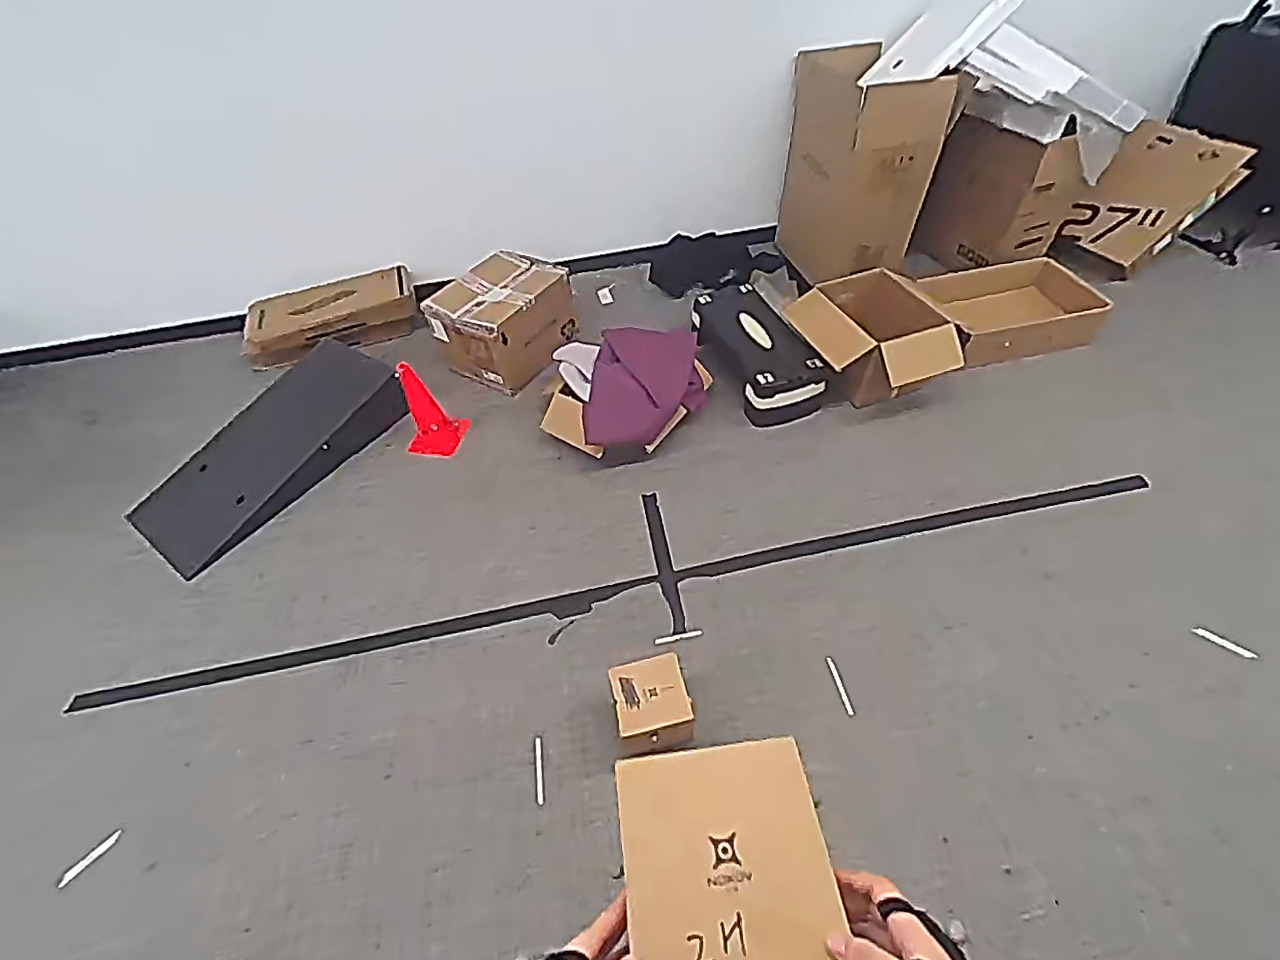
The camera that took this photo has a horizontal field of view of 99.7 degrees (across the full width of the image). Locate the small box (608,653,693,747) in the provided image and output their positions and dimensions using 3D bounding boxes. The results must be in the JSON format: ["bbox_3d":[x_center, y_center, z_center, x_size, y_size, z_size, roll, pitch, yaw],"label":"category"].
[{"bbox_3d":[0.030,0.557,1.339,0.179,0.176,0.168,-12,50,-6],"label":"small box"}]

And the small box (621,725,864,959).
[{"bbox_3d":[0.075,0.349,0.491,0.168,0.176,0.179,-8,48,-2],"label":"small box"}]
